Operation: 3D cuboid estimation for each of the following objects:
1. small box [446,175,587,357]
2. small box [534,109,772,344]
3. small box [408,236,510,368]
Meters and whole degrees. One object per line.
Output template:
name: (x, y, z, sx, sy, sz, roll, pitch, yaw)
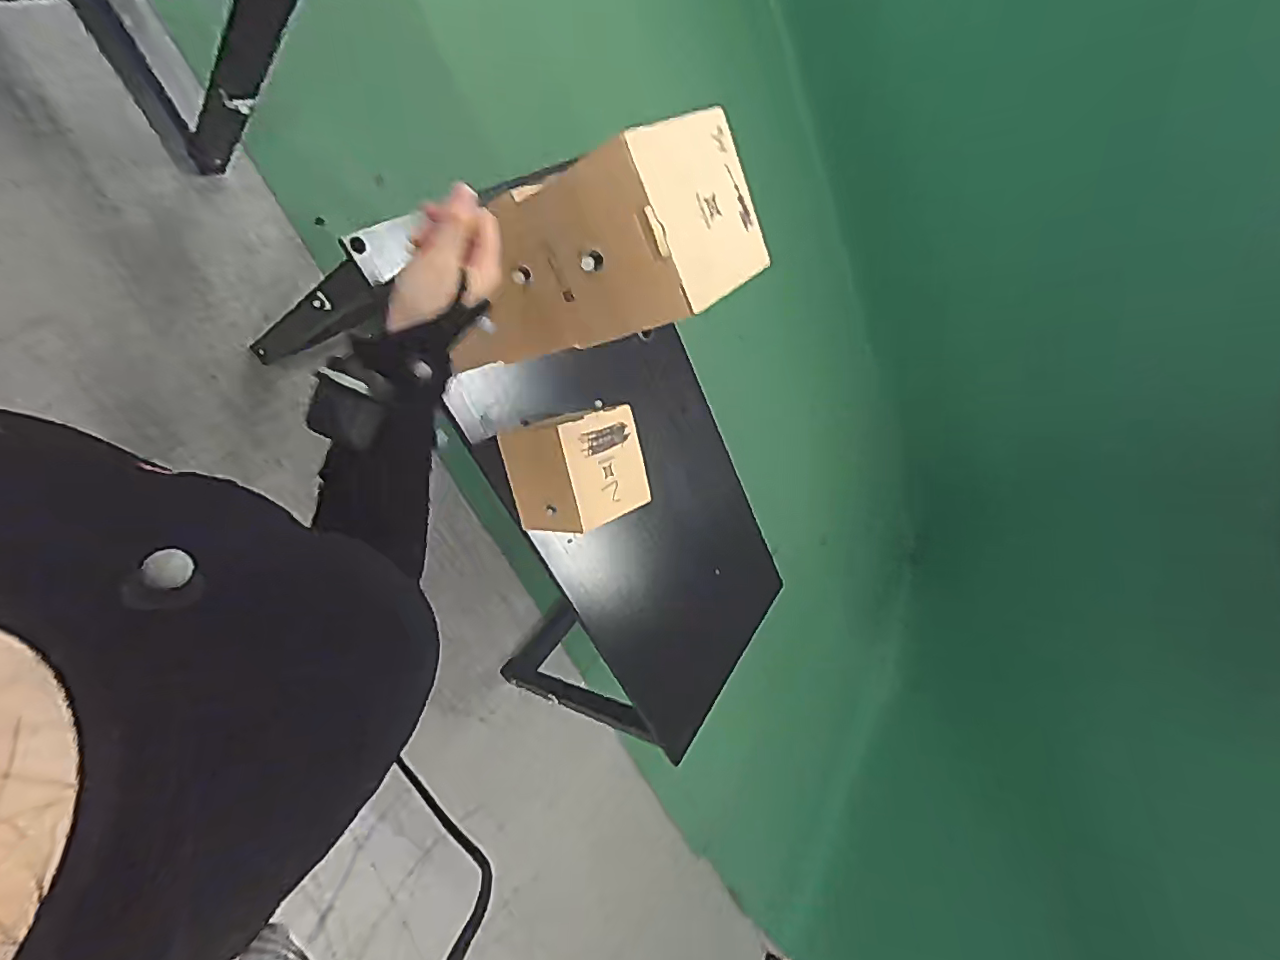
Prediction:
small box: (-0.112, -0.271, 0.697, 0.168, 0.176, 0.179, -44, 119, -37)
small box: (0.010, -0.263, 0.586, 0.179, 0.176, 0.168, -42, 118, -37)
small box: (-0.221, -0.284, 0.817, 0.179, 0.176, 0.168, -44, 121, -37)
